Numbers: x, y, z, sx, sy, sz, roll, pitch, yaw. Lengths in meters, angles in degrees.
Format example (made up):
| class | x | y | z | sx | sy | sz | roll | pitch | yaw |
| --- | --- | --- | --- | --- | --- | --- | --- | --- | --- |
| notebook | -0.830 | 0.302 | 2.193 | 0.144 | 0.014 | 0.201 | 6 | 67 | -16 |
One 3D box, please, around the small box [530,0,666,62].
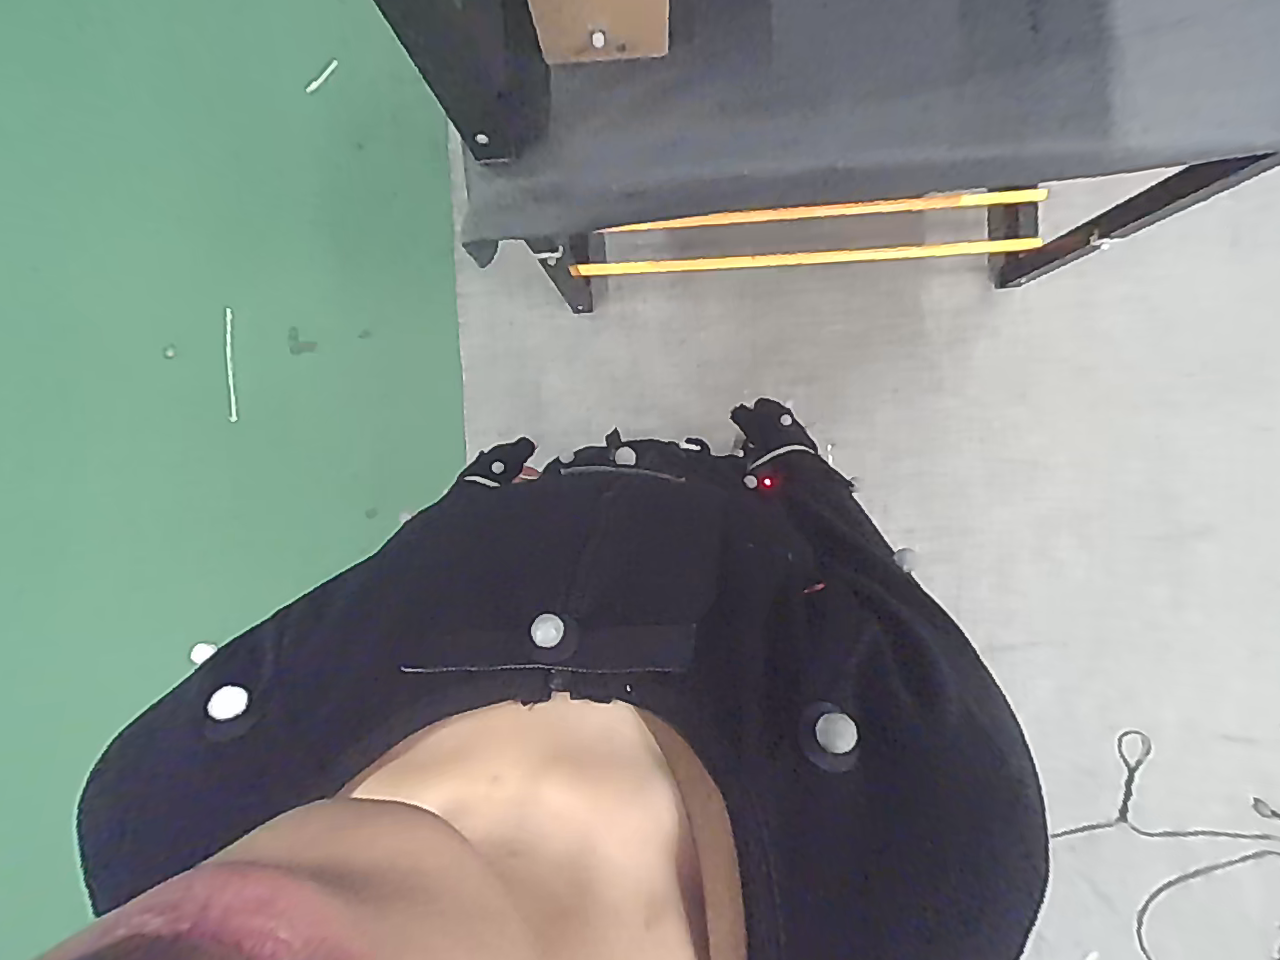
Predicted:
| class | x | y | z | sx | sy | sz | roll | pitch | yaw |
| --- | --- | --- | --- | --- | --- | --- | --- | --- | --- |
| small box | -0.054 | -0.647 | 0.641 | 0.168 | 0.176 | 0.179 | -3 | 93 | 2 |
